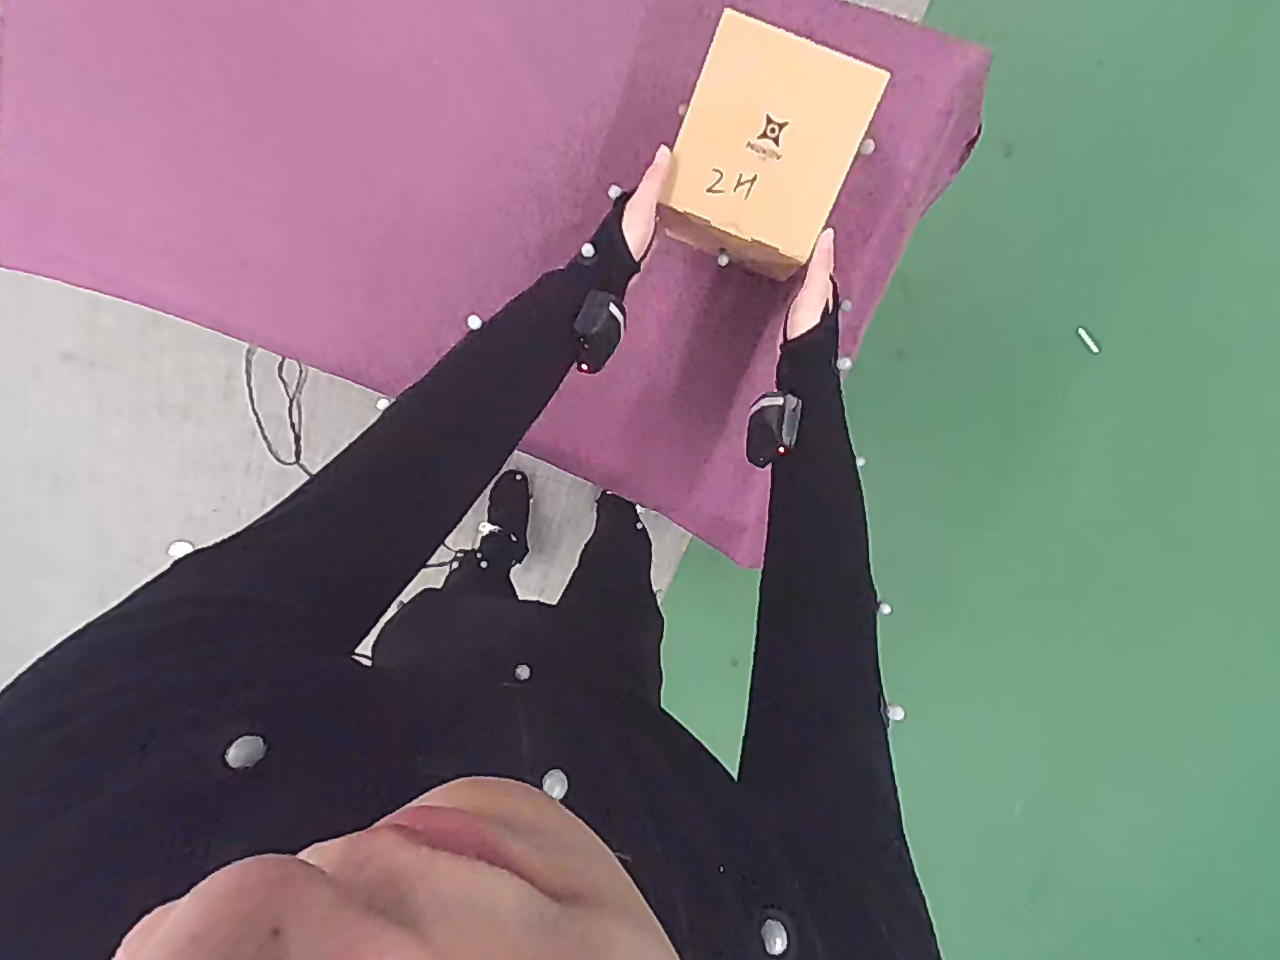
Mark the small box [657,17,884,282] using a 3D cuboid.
[{"bbox_3d":[0.128,-0.340,0.597,0.168,0.176,0.179,23,105,1],"label":"small box"}]
